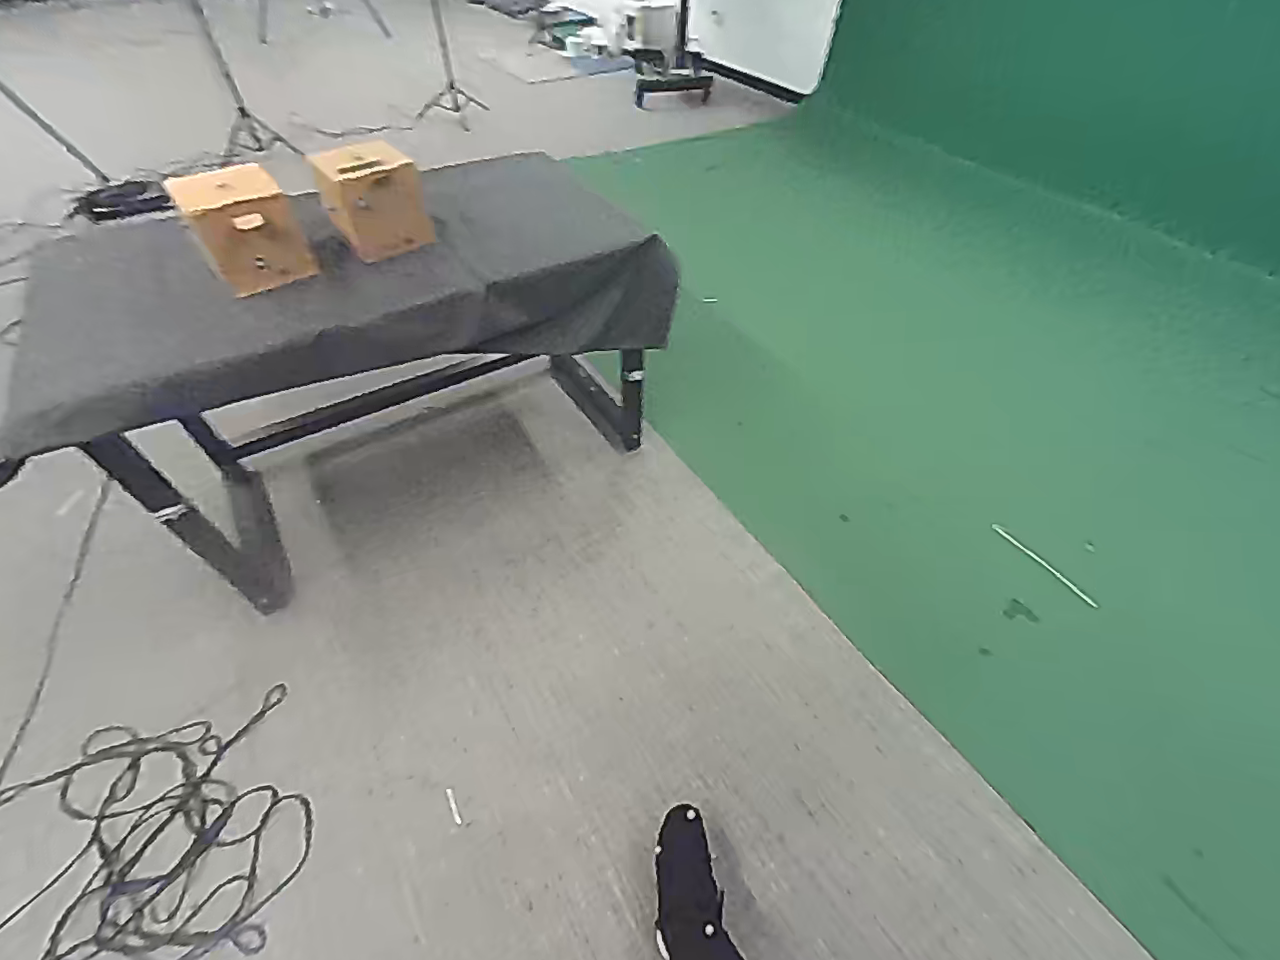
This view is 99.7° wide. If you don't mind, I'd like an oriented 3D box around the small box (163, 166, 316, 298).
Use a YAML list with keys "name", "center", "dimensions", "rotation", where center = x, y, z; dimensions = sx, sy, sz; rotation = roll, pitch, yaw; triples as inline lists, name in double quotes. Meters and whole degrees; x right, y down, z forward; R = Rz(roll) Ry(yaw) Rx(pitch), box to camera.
- name: "small box"
  center: [-0.784, -0.490, 1.070]
  dimensions: [0.168, 0.176, 0.179]
  rotation: [-33, 58, -27]
